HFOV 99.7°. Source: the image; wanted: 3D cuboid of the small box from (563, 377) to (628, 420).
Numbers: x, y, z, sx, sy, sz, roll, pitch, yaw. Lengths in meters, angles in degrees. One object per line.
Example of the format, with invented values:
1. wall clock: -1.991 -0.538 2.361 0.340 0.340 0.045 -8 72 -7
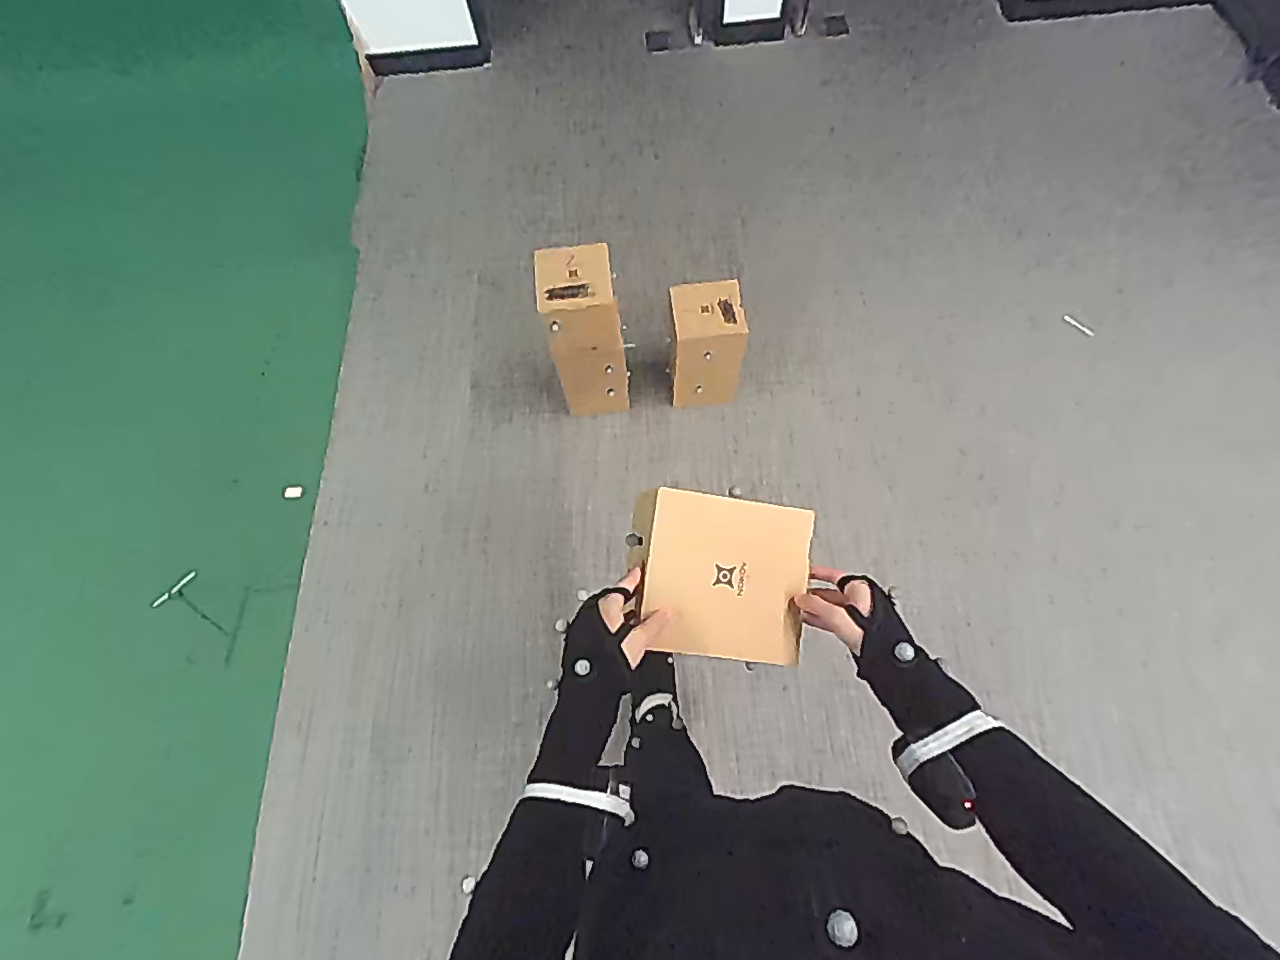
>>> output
1. small box: -0.130 -0.293 1.577 0.179 0.176 0.168 -8 68 0

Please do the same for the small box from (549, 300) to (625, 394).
1. small box: -0.133 -0.343 1.421 0.179 0.176 0.168 -8 68 0

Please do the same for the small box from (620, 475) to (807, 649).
1. small box: 0.076 0.095 0.652 0.179 0.176 0.168 9 84 -8
